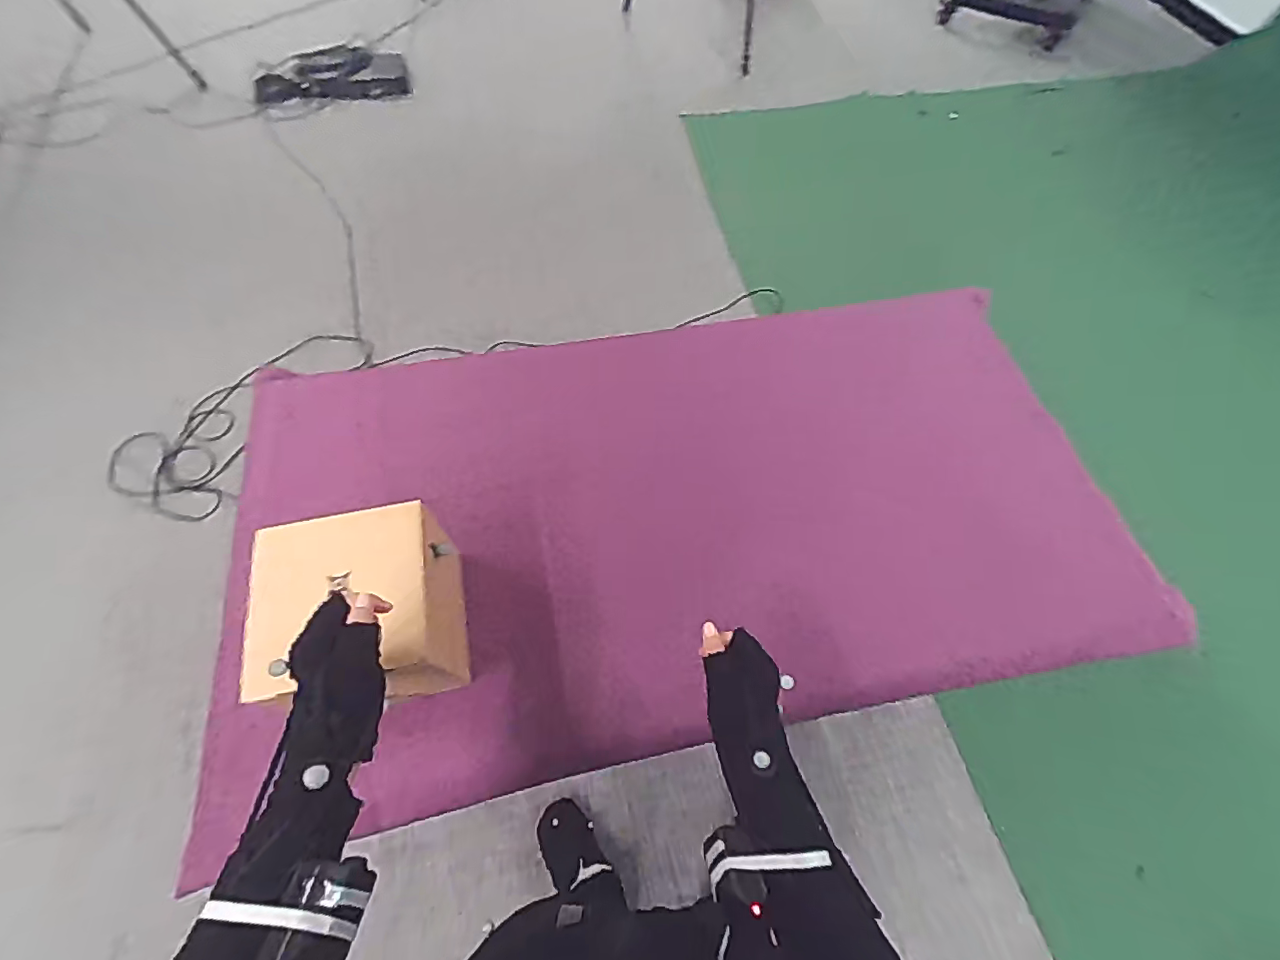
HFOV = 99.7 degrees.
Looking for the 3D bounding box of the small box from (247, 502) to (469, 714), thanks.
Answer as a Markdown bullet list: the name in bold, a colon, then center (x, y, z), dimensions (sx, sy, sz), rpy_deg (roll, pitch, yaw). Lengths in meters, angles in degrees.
- **small box**: center (-0.300, 0.150, 0.611), dimensions (0.168, 0.176, 0.179), rpy_deg (-11, 63, -8)
